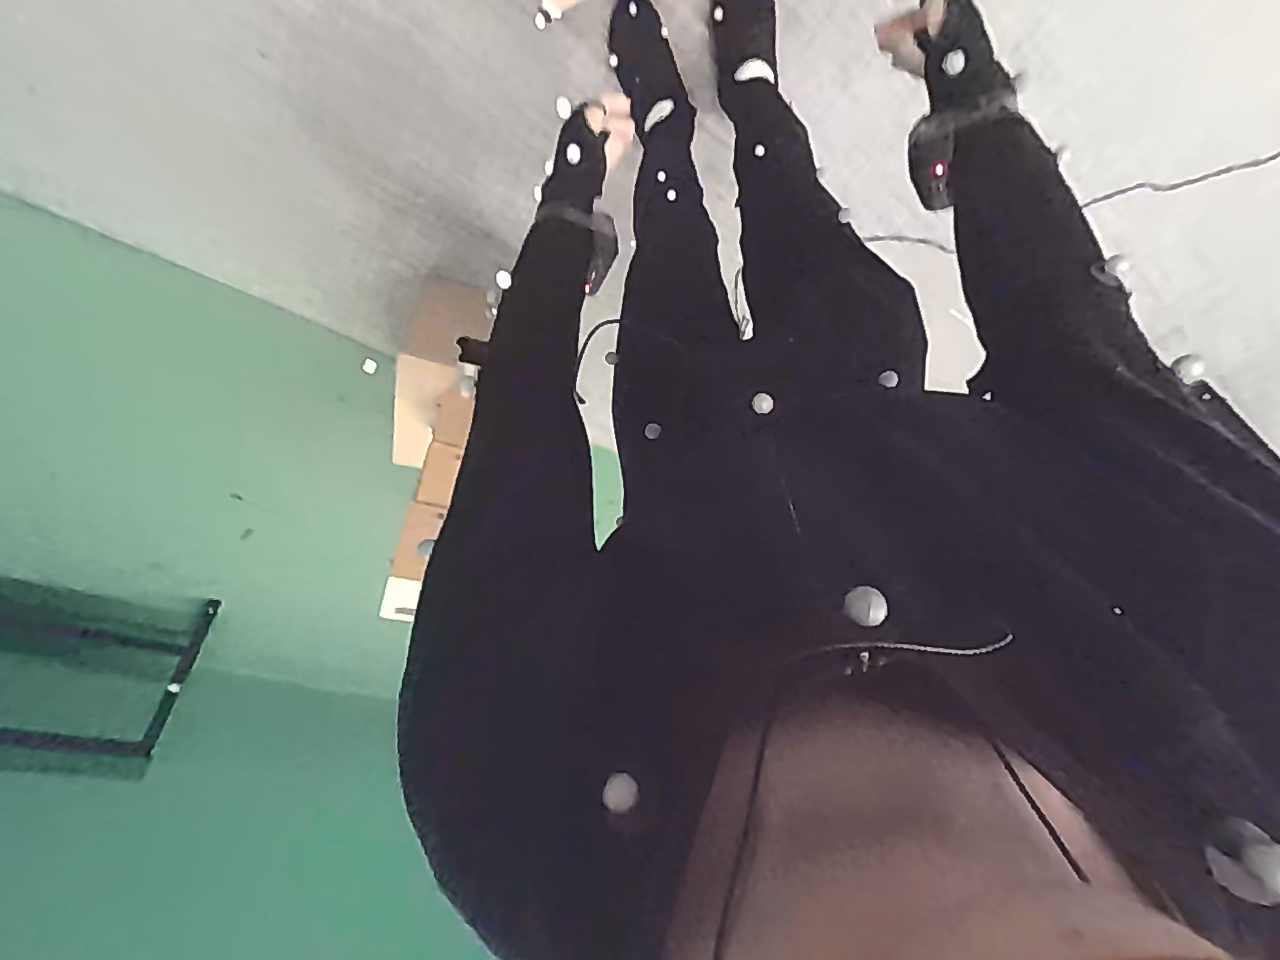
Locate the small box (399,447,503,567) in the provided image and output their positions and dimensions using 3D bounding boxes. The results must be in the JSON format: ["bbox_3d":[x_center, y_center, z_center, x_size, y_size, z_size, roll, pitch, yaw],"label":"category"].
[{"bbox_3d":[-0.403,0.060,1.168,0.168,0.176,0.179,17,137,-23],"label":"small box"}]

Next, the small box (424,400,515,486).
[{"bbox_3d":[-0.404,-0.063,1.274,0.179,0.176,0.168,16,138,-22],"label":"small box"}]
